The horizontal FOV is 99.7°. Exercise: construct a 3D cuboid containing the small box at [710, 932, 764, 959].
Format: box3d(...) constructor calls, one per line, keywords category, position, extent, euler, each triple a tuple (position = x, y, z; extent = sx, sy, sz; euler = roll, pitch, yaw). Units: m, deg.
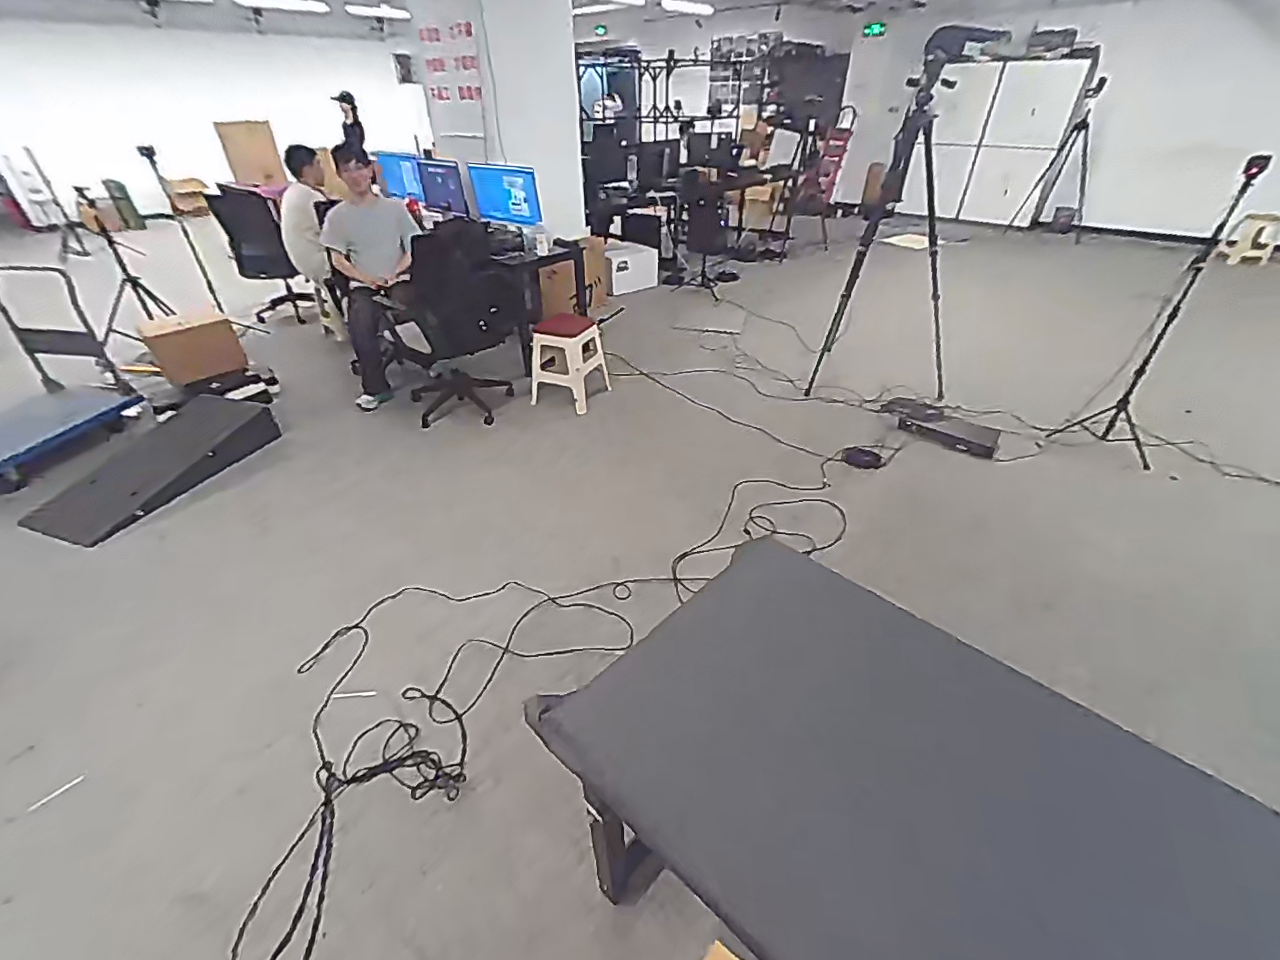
box3d(category="small box", position=(0.071, 0.463, 0.352), extent=(0.168, 0.176, 0.179), euler=(26, 42, 25))
